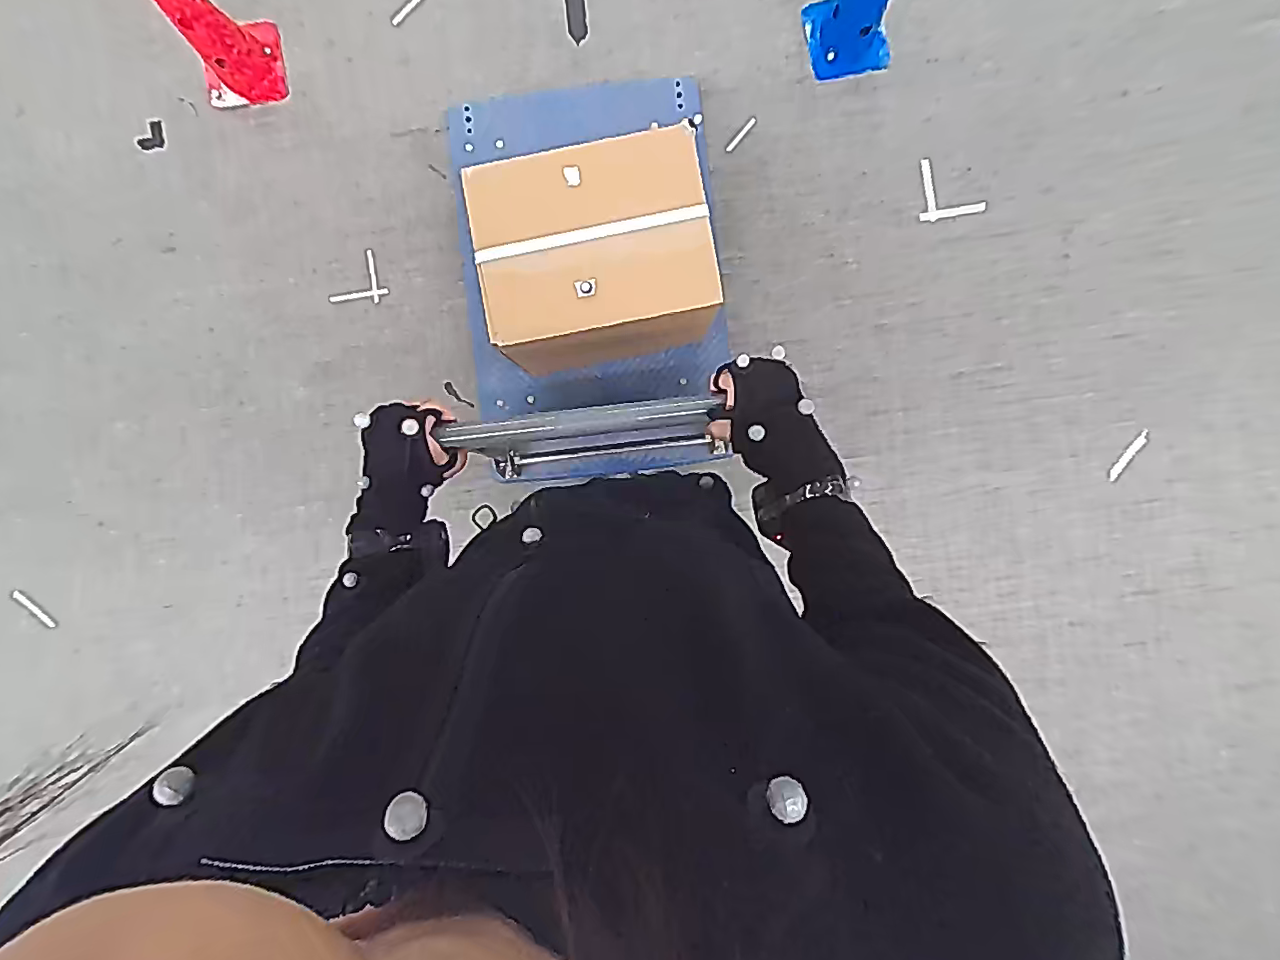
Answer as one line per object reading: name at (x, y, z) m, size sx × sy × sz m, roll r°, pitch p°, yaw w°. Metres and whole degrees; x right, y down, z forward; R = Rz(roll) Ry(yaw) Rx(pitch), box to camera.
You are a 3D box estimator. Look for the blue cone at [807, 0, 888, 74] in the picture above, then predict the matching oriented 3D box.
blue cone at (0.536, -1.145, 1.227) m, size 0.193 × 0.380 × 0.192 m, roll -11°, pitch 91°, yaw 0°
